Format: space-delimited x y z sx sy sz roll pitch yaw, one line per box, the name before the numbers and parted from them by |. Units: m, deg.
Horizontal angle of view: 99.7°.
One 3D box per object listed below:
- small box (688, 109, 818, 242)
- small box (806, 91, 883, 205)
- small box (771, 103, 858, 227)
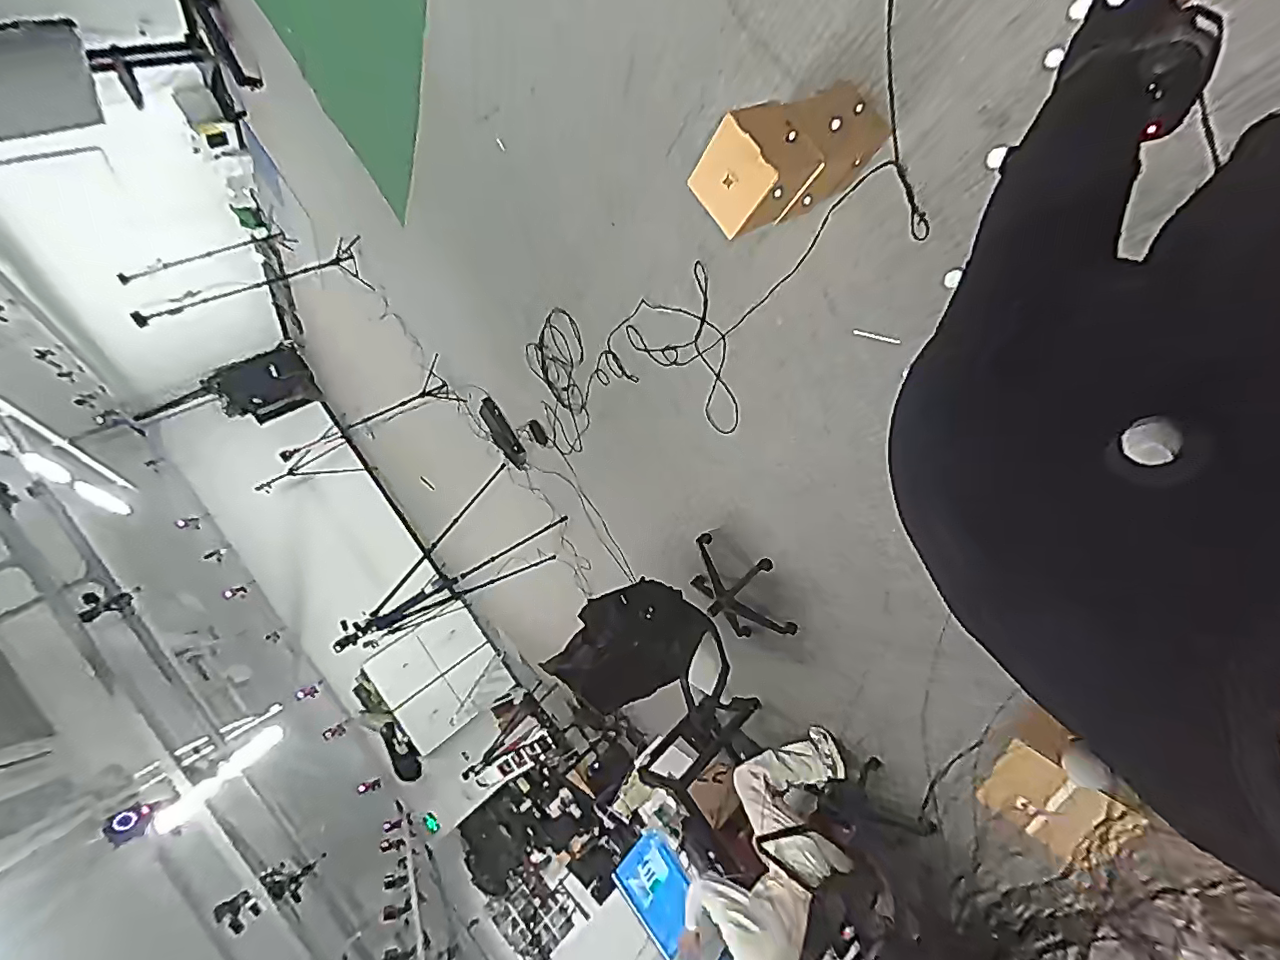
small box | 0.242 -0.653 1.160 0.168 0.176 0.179 54 149 4
small box | 0.466 -0.817 1.333 0.168 0.176 0.179 53 150 6
small box | 0.360 -0.725 1.246 0.168 0.176 0.179 54 149 3
